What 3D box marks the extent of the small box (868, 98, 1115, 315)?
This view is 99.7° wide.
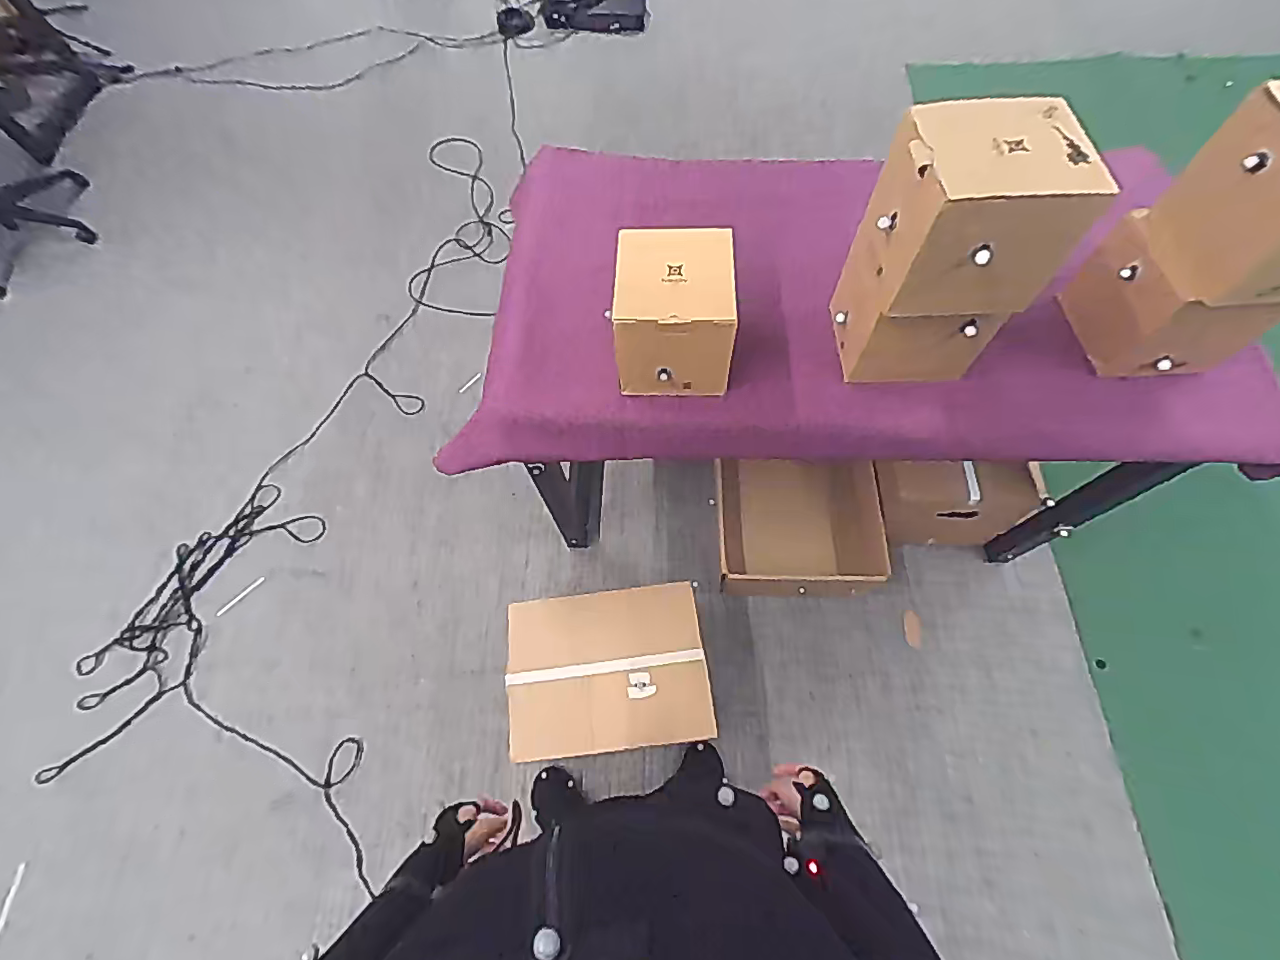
[{"bbox_3d":[0.388,-0.315,0.643,0.179,0.176,0.168,-2,63,3],"label":"small box"}]

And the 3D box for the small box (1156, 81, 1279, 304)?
[{"bbox_3d":[0.774,-0.332,0.629,0.168,0.176,0.179,-3,63,4],"label":"small box"}]

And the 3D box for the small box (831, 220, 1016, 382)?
[{"bbox_3d":[0.401,-0.259,0.798,0.179,0.176,0.168,-1,63,3],"label":"small box"}]

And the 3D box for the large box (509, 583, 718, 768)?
[{"bbox_3d":[-0.060,0.449,1.221,0.408,0.320,0.320,-7,64,-1],"label":"large box"}]

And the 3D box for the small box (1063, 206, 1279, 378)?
[{"bbox_3d":[0.767,-0.269,0.782,0.168,0.176,0.179,-3,63,3],"label":"small box"}]

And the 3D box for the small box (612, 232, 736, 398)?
[{"bbox_3d":[0.050,-0.244,0.812,0.168,0.176,0.179,0,64,3],"label":"small box"}]
